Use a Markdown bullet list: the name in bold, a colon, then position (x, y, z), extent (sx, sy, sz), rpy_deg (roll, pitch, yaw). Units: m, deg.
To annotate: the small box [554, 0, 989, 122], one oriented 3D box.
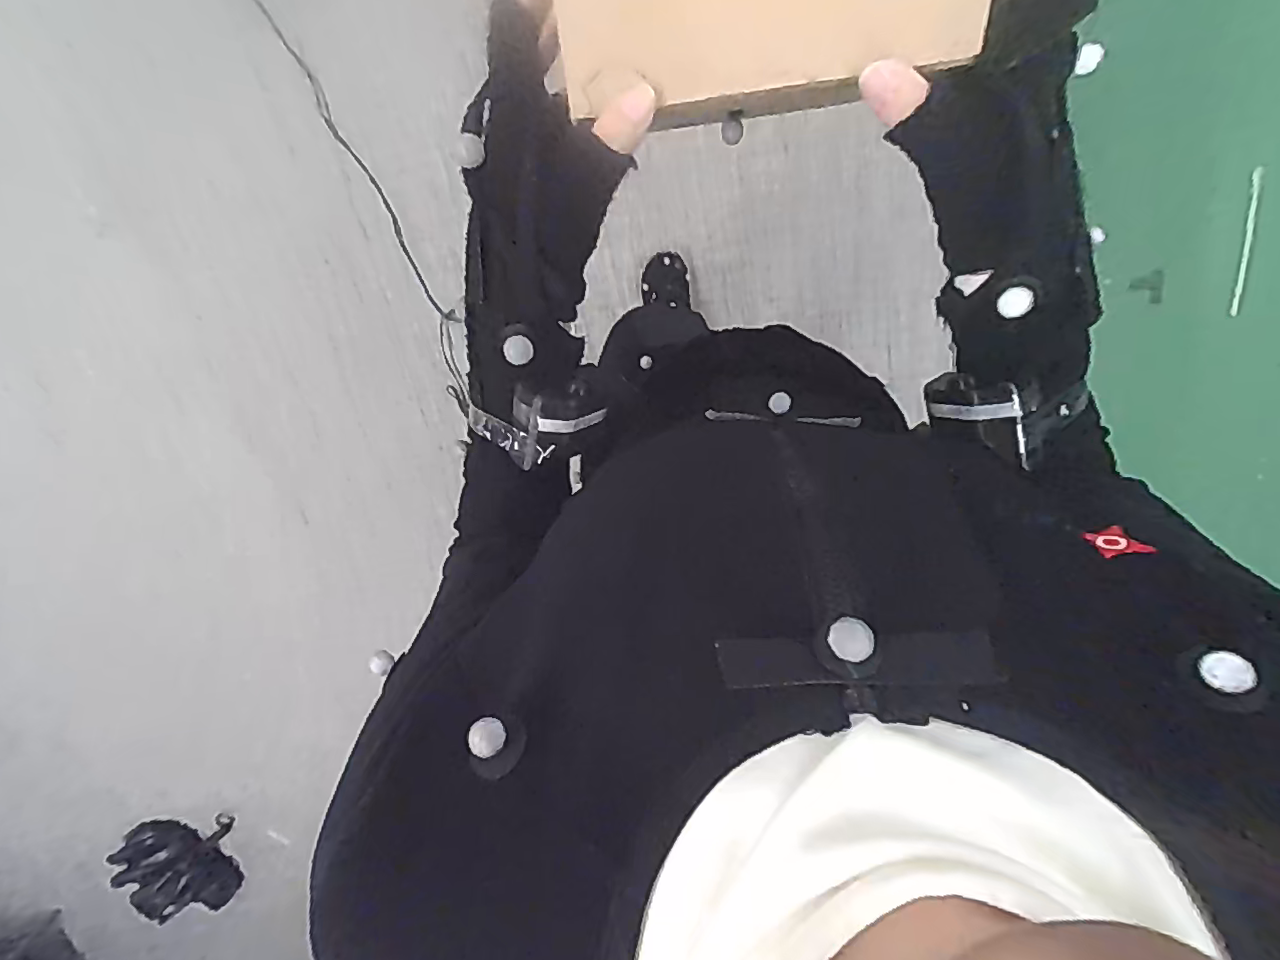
- **small box**: position (0.047, -0.281, 0.256), extent (0.179, 0.176, 0.168), rpy_deg (-5, 120, 5)
